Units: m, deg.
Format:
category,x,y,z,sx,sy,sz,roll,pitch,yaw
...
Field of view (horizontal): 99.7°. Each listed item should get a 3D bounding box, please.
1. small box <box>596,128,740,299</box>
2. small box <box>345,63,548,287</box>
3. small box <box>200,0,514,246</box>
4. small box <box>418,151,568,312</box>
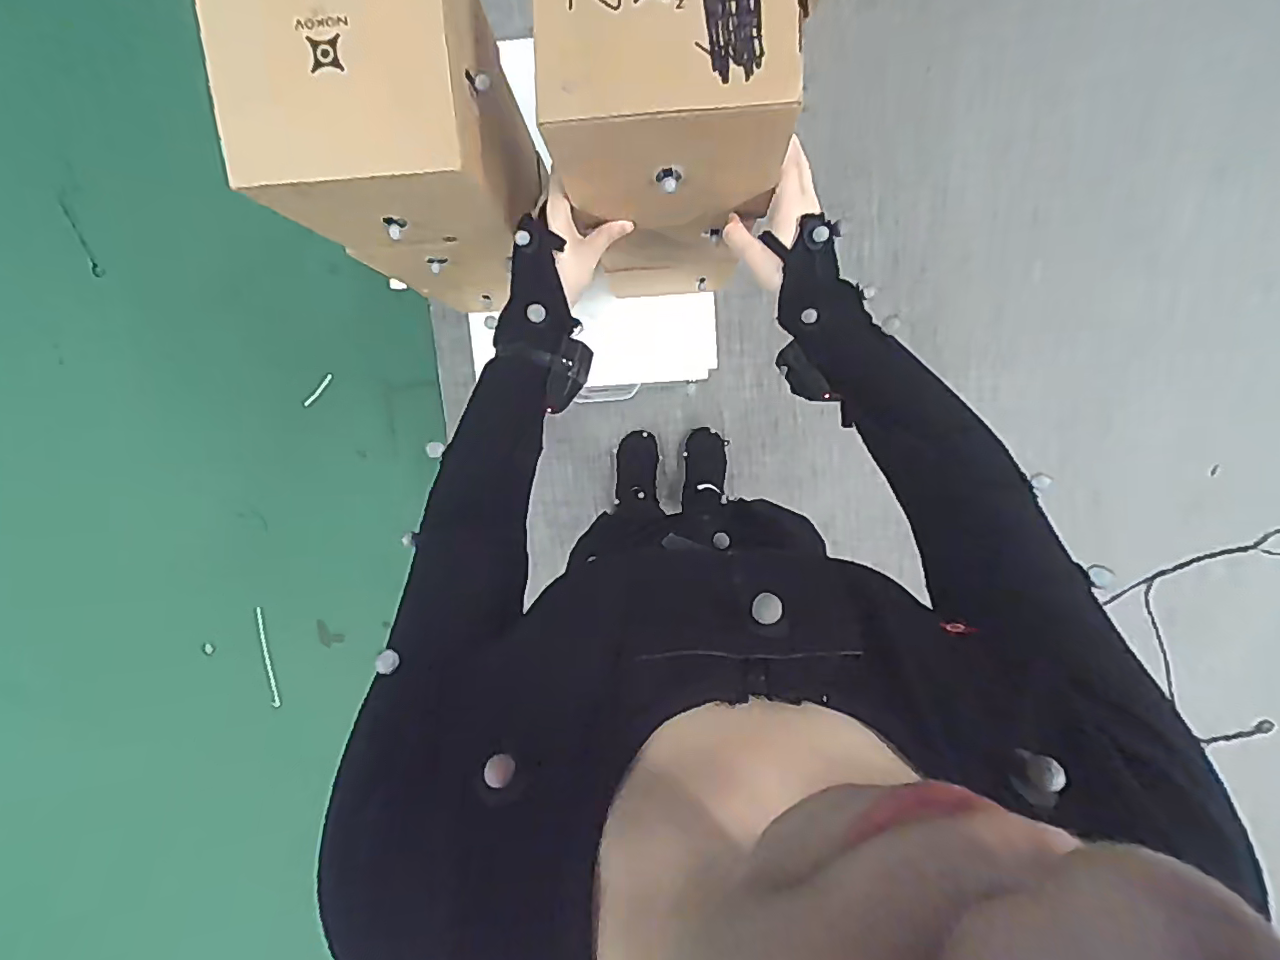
category,x,y,z,sx,sy,sz,roll,pitch,yaw
small box,0.040,-0.359,0.760,0.179,0.176,0.168,-4,97,4
small box,-0.210,-0.320,0.604,0.179,0.176,0.168,-4,98,1
small box,-0.207,-0.302,0.441,0.168,0.176,0.179,-4,98,0
small box,-0.206,-0.339,0.769,0.179,0.176,0.168,-4,99,1
